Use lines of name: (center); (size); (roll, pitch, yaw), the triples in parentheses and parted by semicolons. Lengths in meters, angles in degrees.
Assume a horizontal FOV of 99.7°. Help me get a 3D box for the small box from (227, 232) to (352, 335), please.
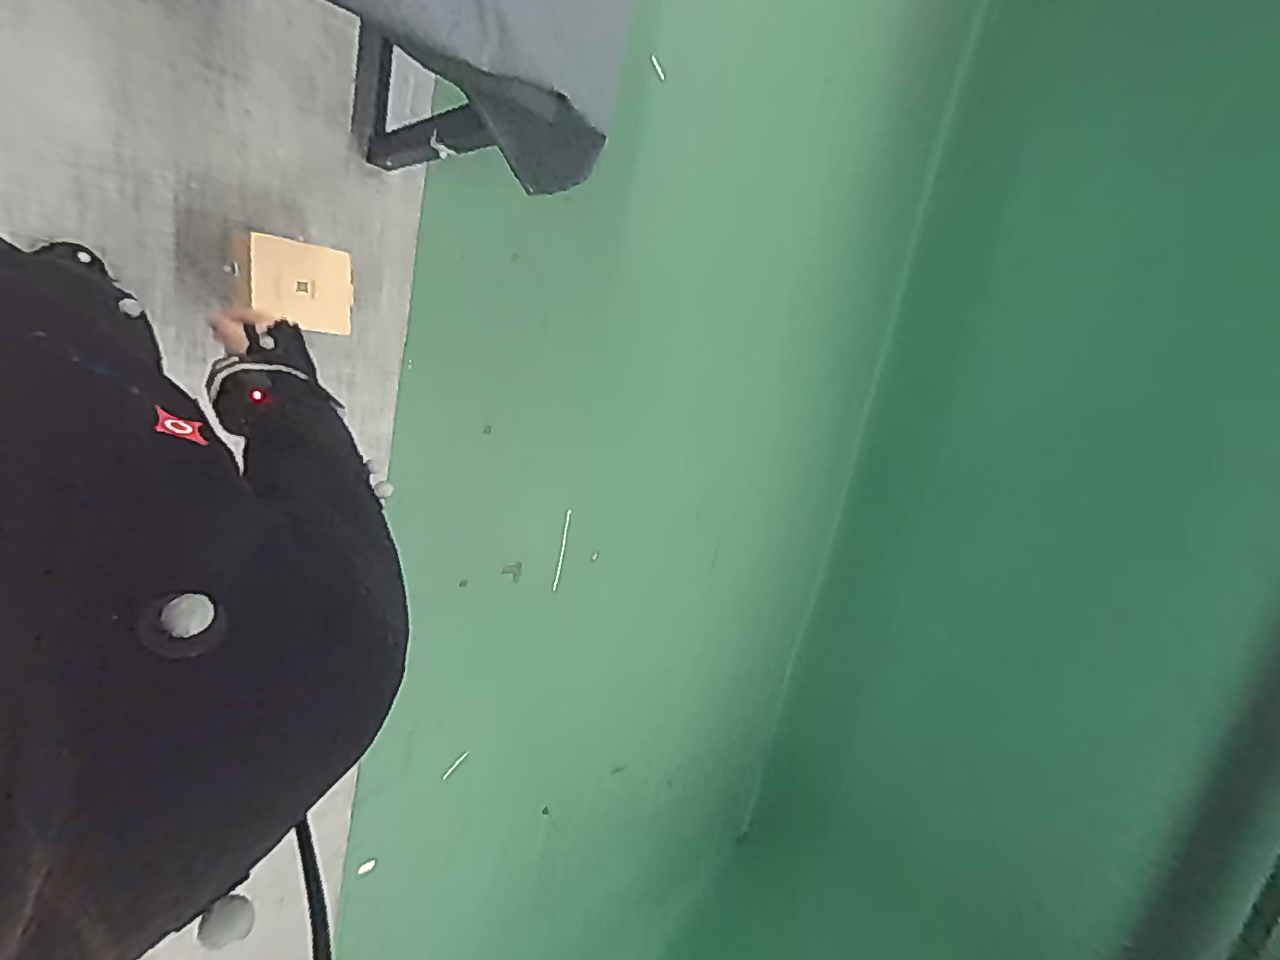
small box: (-0.710, -0.394, 1.096); (0.179, 0.176, 0.168); (-7, 109, -47)
